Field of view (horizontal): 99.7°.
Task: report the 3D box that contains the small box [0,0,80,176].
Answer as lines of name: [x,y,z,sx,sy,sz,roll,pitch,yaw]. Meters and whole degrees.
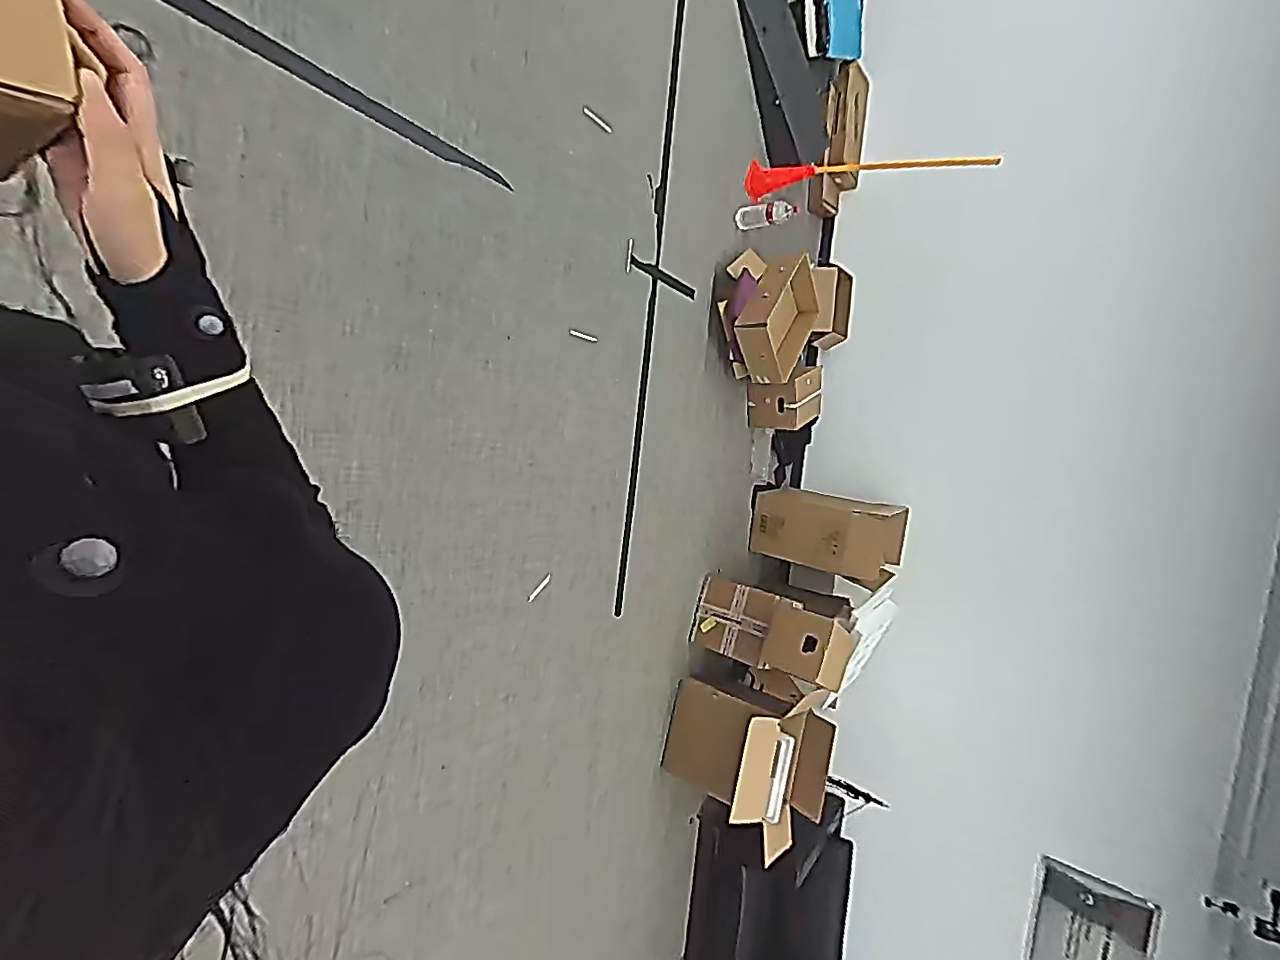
small box: [-0.384,-0.253,0.227,0.168,0.176,0.179,-17,110,-55]
